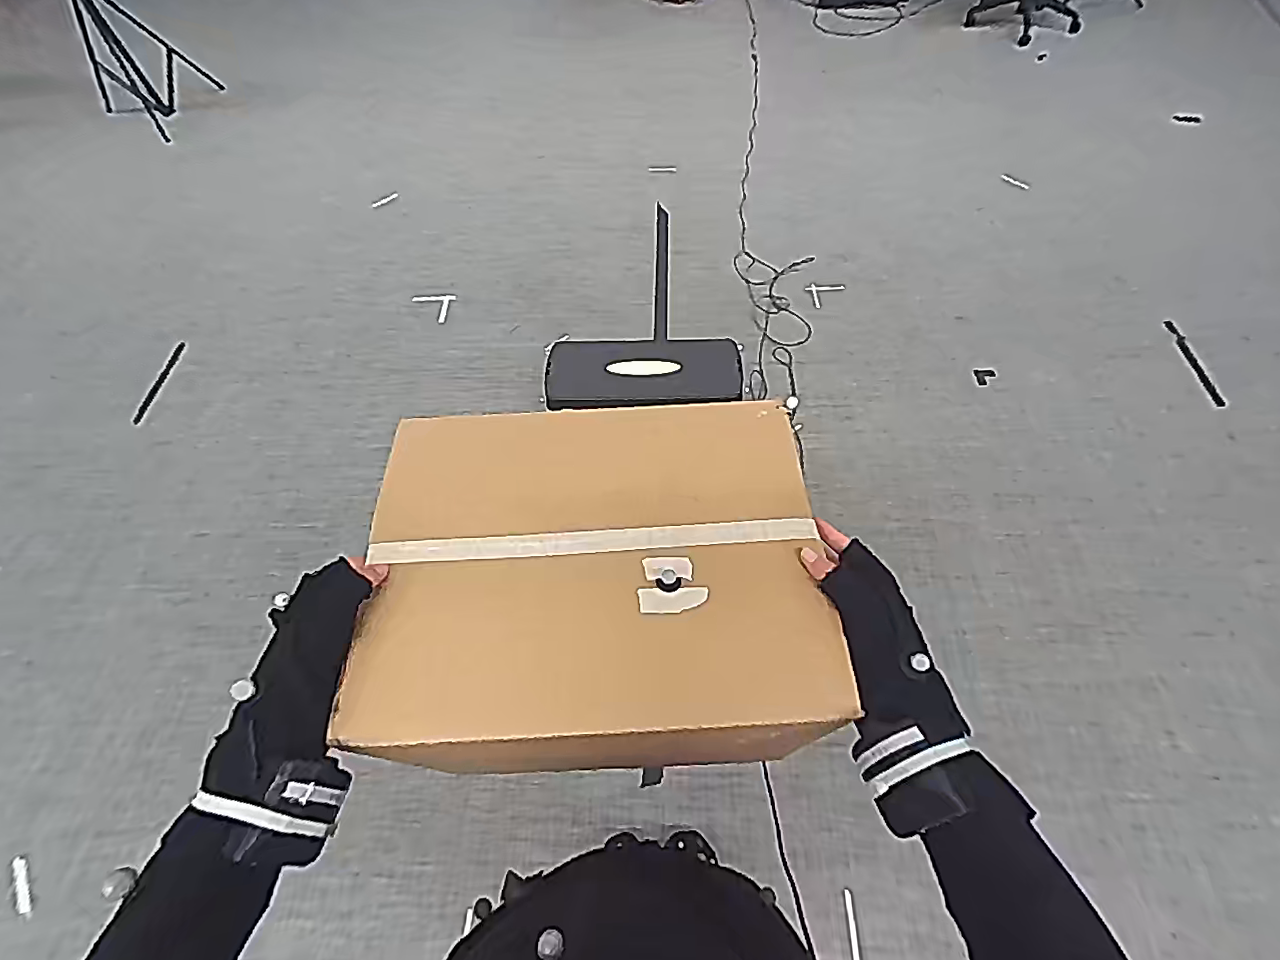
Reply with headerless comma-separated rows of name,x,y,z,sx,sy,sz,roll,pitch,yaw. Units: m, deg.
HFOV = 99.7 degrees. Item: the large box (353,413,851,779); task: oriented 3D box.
large box,-0.035,0.148,0.629,0.408,0.320,0.320,-3,57,0
